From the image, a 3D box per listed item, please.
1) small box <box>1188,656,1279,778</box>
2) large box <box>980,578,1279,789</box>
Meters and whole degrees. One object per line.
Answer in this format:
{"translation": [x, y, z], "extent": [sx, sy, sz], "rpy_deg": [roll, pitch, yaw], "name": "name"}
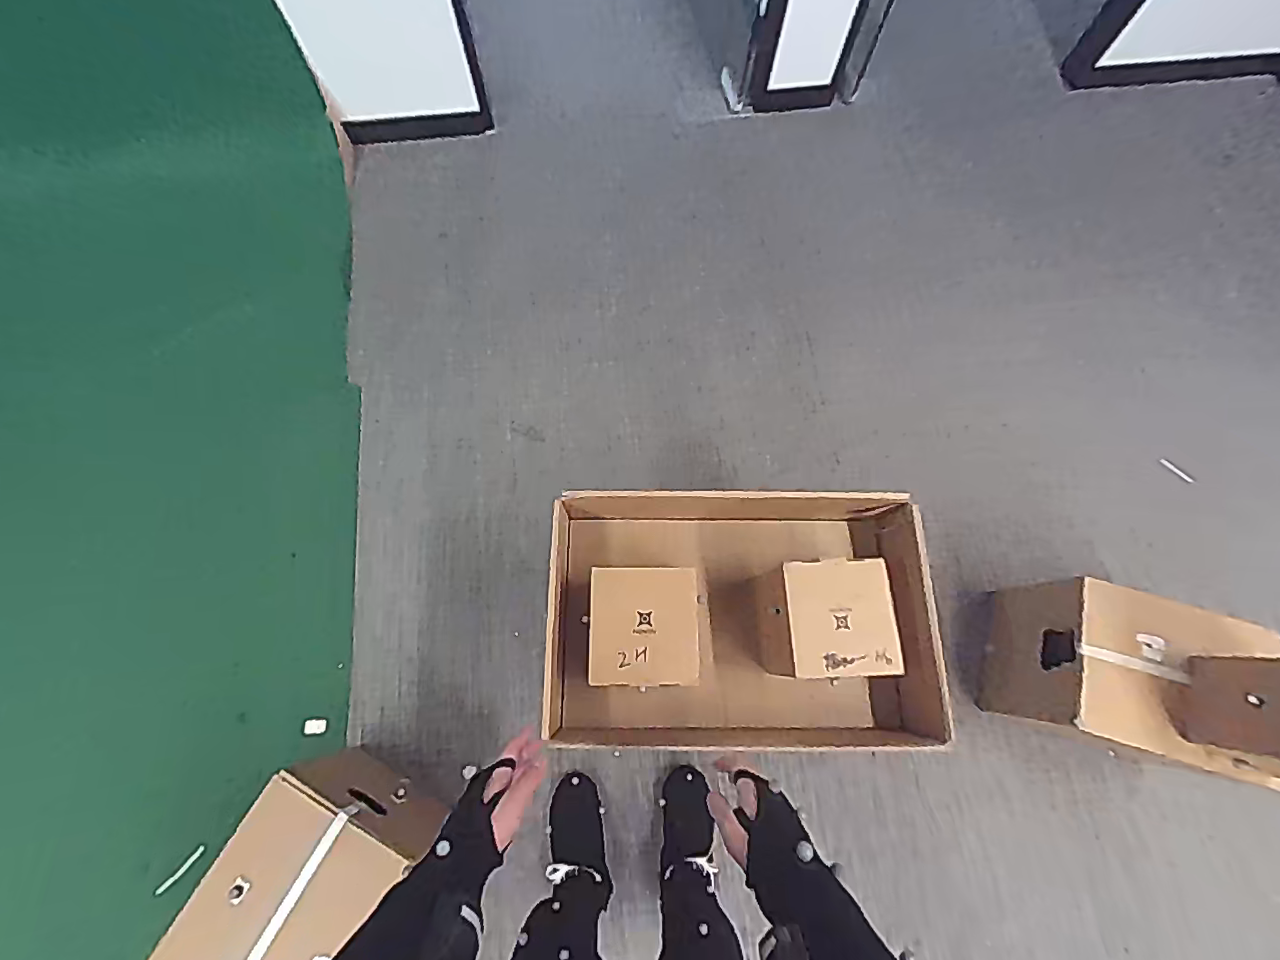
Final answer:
{"translation": [1.150, 0.429, 0.969], "extent": [0.168, 0.176, 0.179], "rpy_deg": [22, 75, 6], "name": "small box"}
{"translation": [1.072, 0.439, 1.220], "extent": [0.408, 0.320, 0.320], "rpy_deg": [16, 72, 5], "name": "large box"}
